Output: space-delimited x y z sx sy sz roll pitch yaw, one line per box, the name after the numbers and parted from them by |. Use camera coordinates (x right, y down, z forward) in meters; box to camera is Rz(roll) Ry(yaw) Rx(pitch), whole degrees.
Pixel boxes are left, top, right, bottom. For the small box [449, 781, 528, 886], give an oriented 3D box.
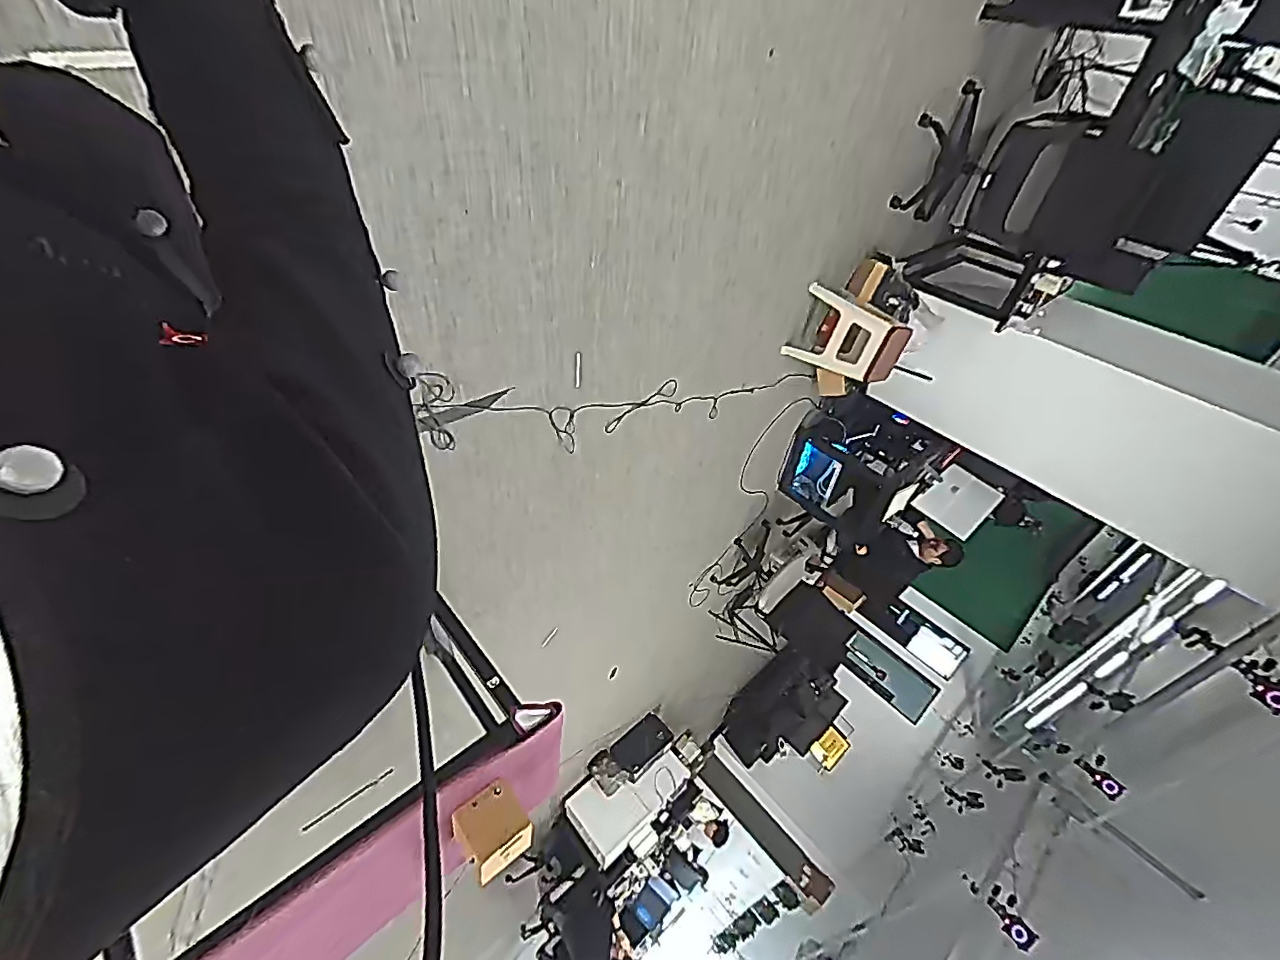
-0.447 1.030 1.591 0.168 0.176 0.179 -23 139 -38 | small box
